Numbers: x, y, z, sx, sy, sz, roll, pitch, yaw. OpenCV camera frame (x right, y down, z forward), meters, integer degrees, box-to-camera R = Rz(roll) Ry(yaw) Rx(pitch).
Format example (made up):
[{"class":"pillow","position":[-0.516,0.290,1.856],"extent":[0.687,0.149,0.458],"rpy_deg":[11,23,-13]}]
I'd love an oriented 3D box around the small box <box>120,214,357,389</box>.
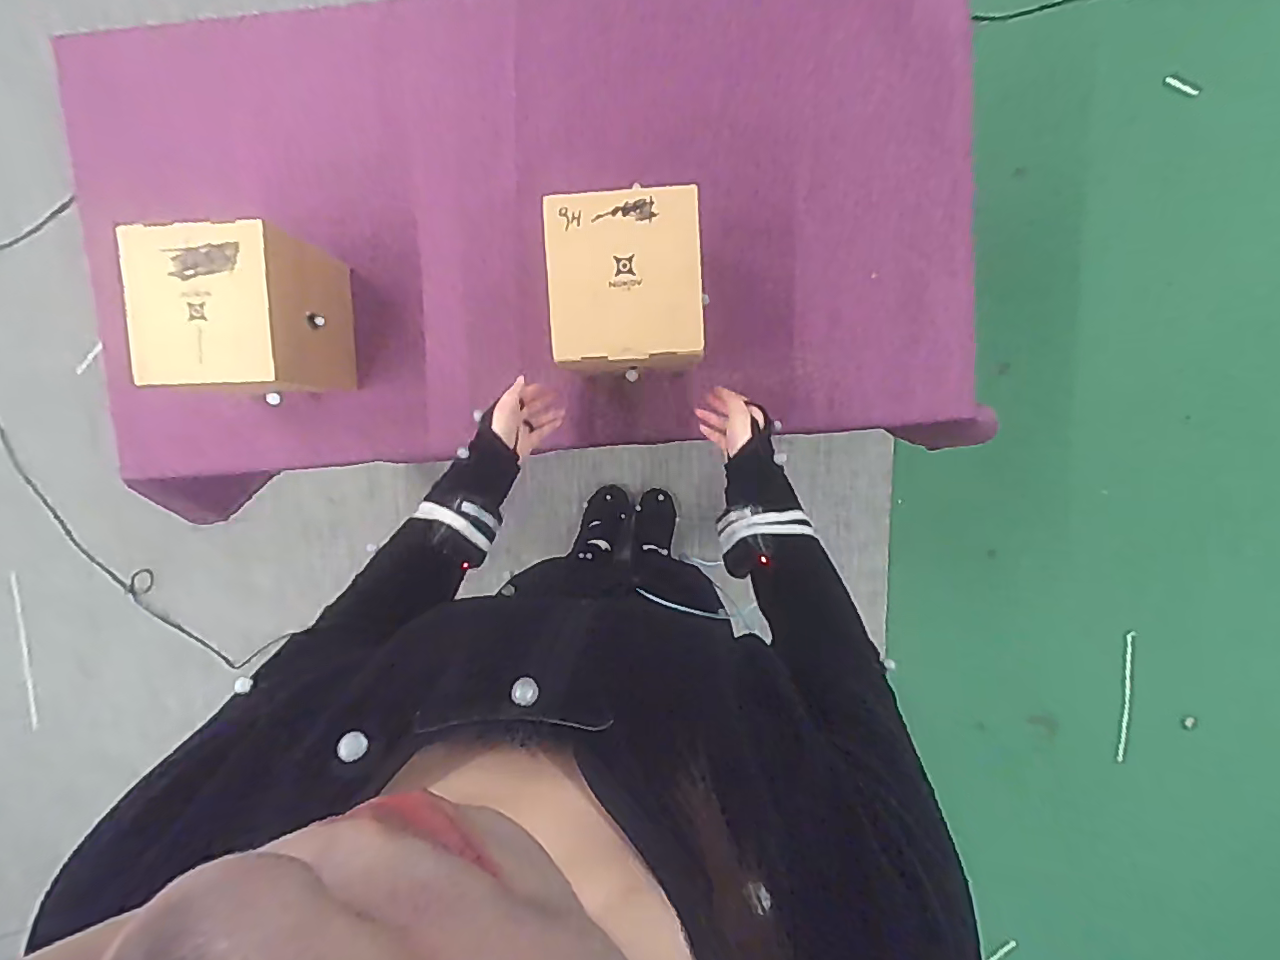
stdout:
[{"class":"small box","position":[-0.479,-0.207,0.671],"extent":[0.168,0.176,0.179],"rpy_deg":[-1,97,2]}]

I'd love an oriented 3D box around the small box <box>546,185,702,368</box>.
[{"class":"small box","position":[-0.012,-0.229,0.655],"extent":[0.168,0.176,0.179],"rpy_deg":[-3,97,2]}]
